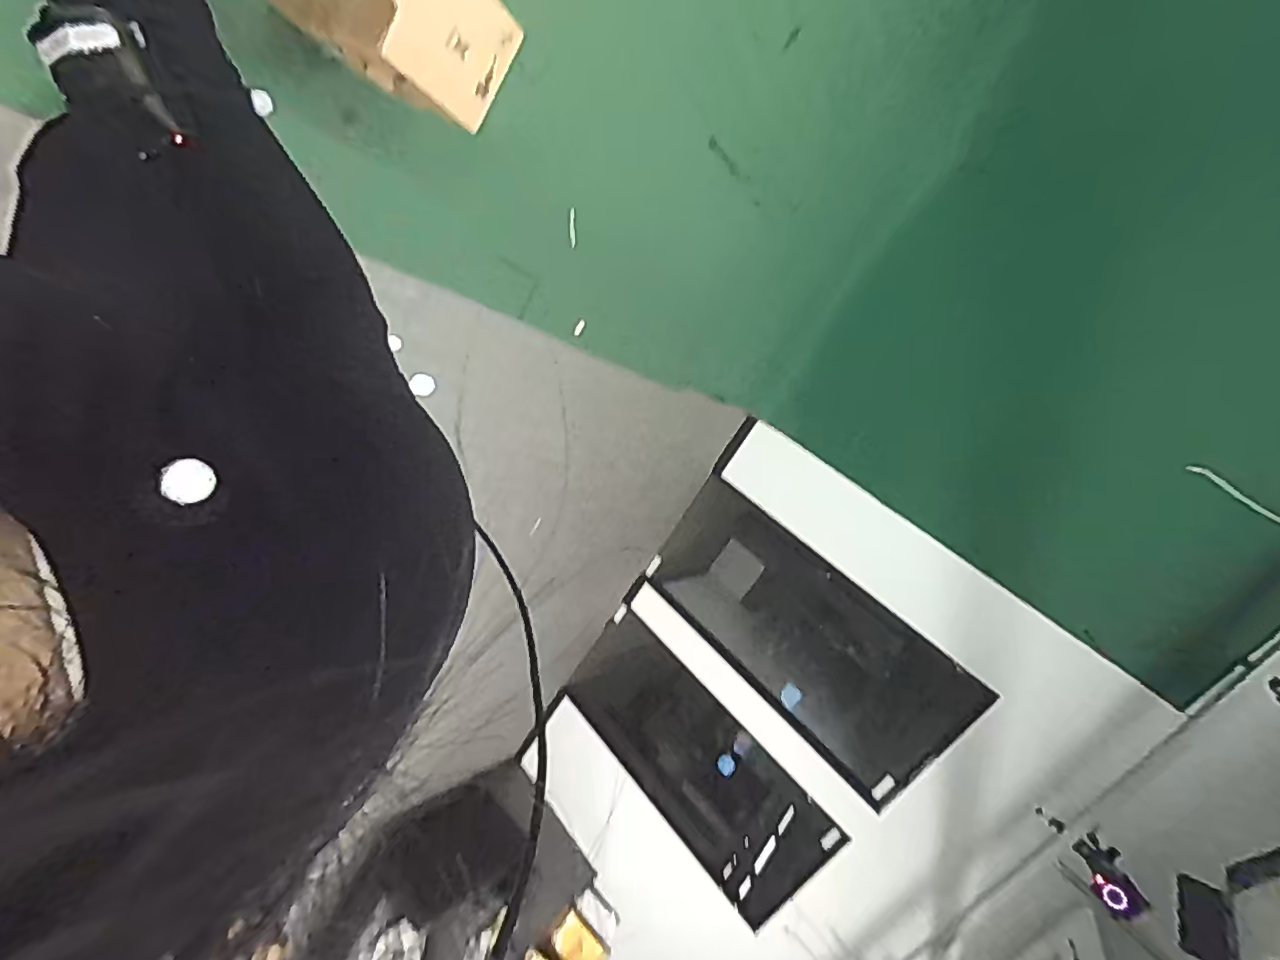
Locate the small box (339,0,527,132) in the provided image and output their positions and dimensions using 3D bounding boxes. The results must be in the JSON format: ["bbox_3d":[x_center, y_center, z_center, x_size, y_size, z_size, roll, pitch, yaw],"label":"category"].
[{"bbox_3d":[-0.314,-0.676,0.815,0.168,0.176,0.179,-56,152,13],"label":"small box"}]

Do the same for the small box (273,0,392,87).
[{"bbox_3d":[-0.529,-0.868,0.972,0.168,0.176,0.179,-54,153,12],"label":"small box"}]
